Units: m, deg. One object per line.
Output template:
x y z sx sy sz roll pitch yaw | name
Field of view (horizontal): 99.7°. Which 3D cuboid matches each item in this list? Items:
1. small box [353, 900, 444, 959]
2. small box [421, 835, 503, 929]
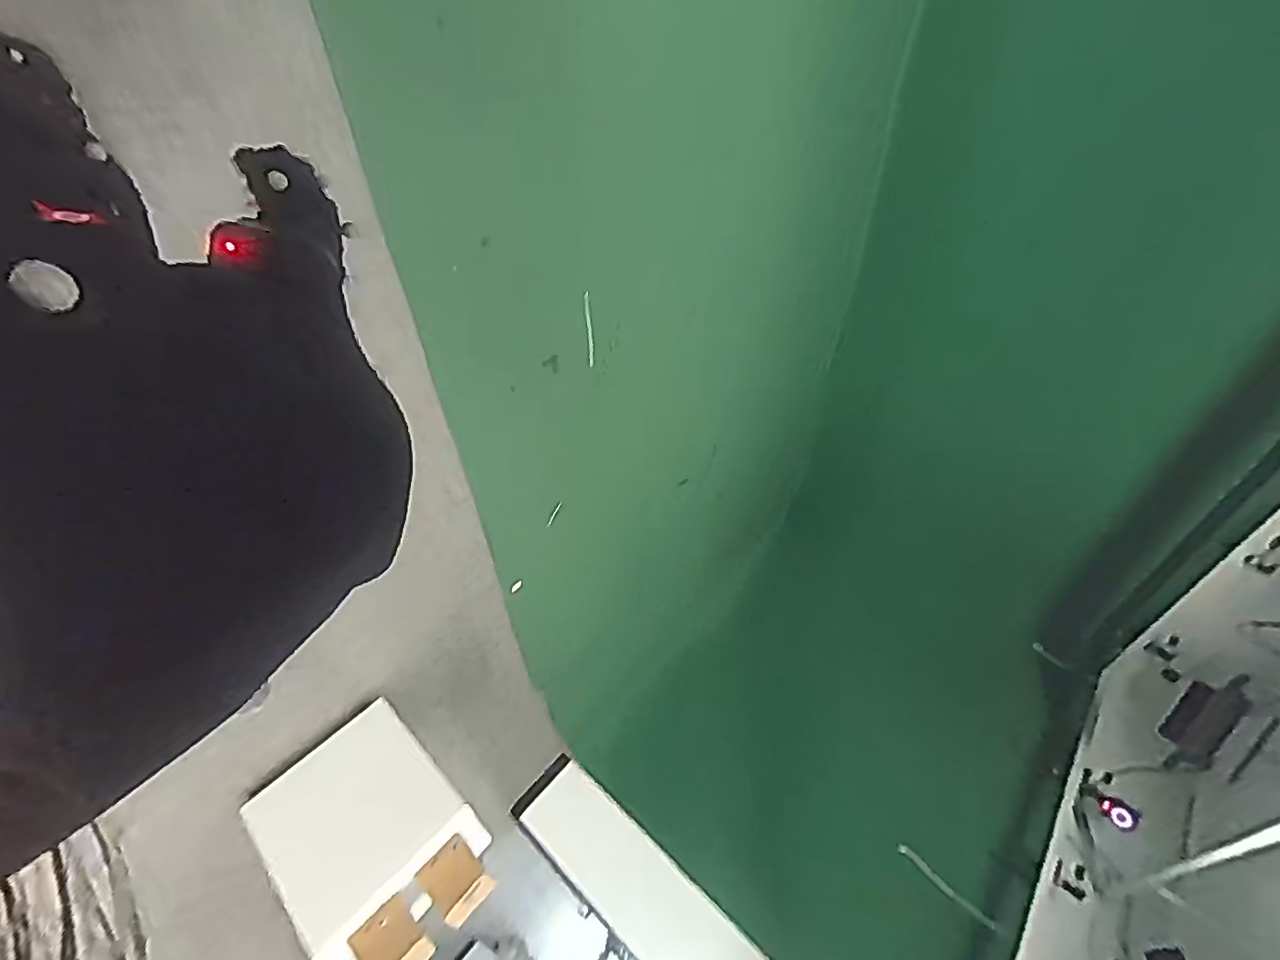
-0.719 1.410 1.611 0.168 0.176 0.179 -35 140 -37 | small box
-0.577 1.297 1.751 0.168 0.176 0.179 -38 144 -31 | small box
